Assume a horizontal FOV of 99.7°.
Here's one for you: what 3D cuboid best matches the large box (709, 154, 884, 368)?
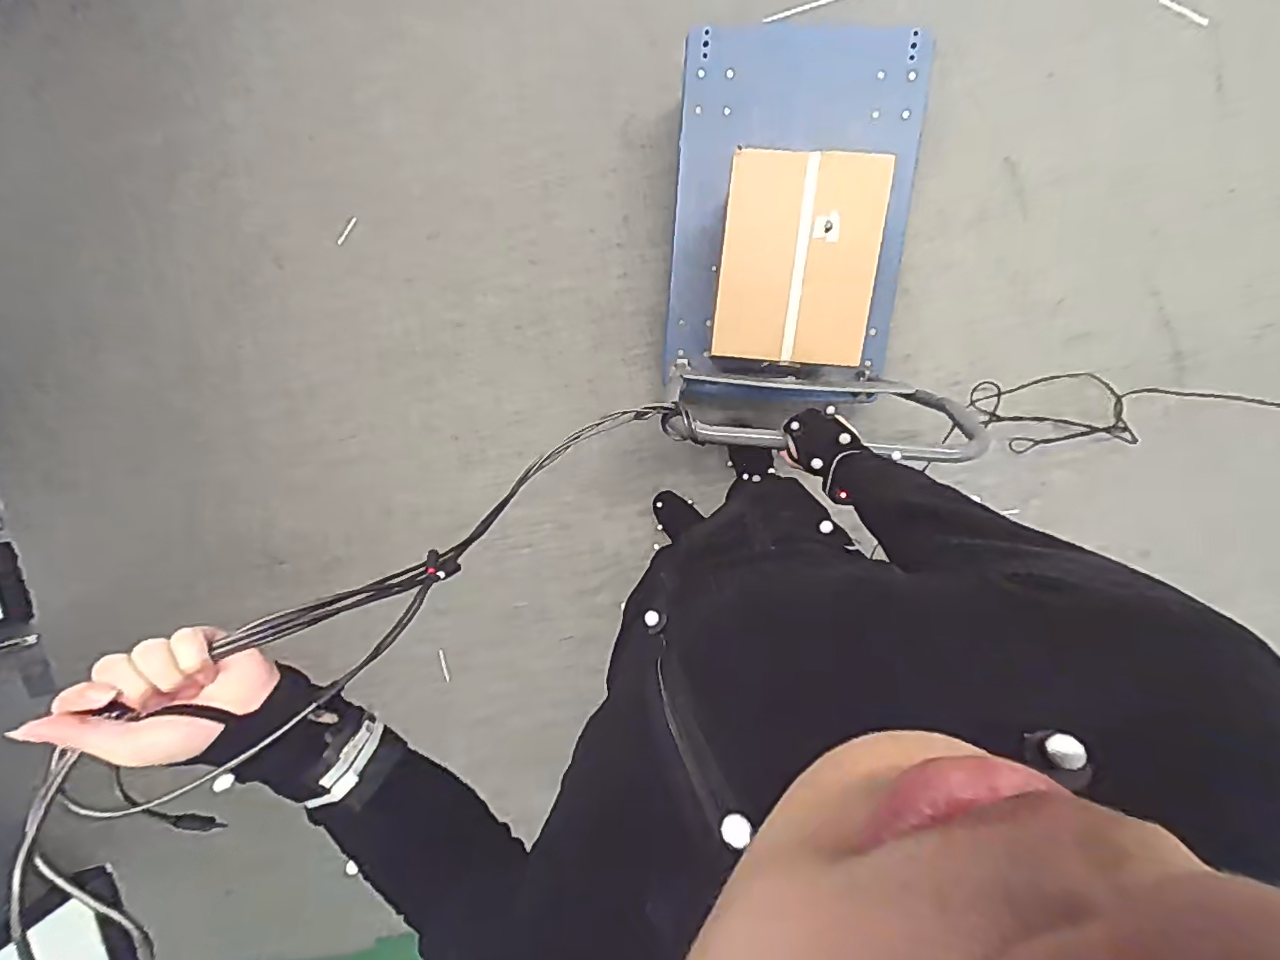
[{"bbox_3d":[0.332,-0.474,1.257,0.320,0.320,0.408,6,102,4],"label":"large box"}]
